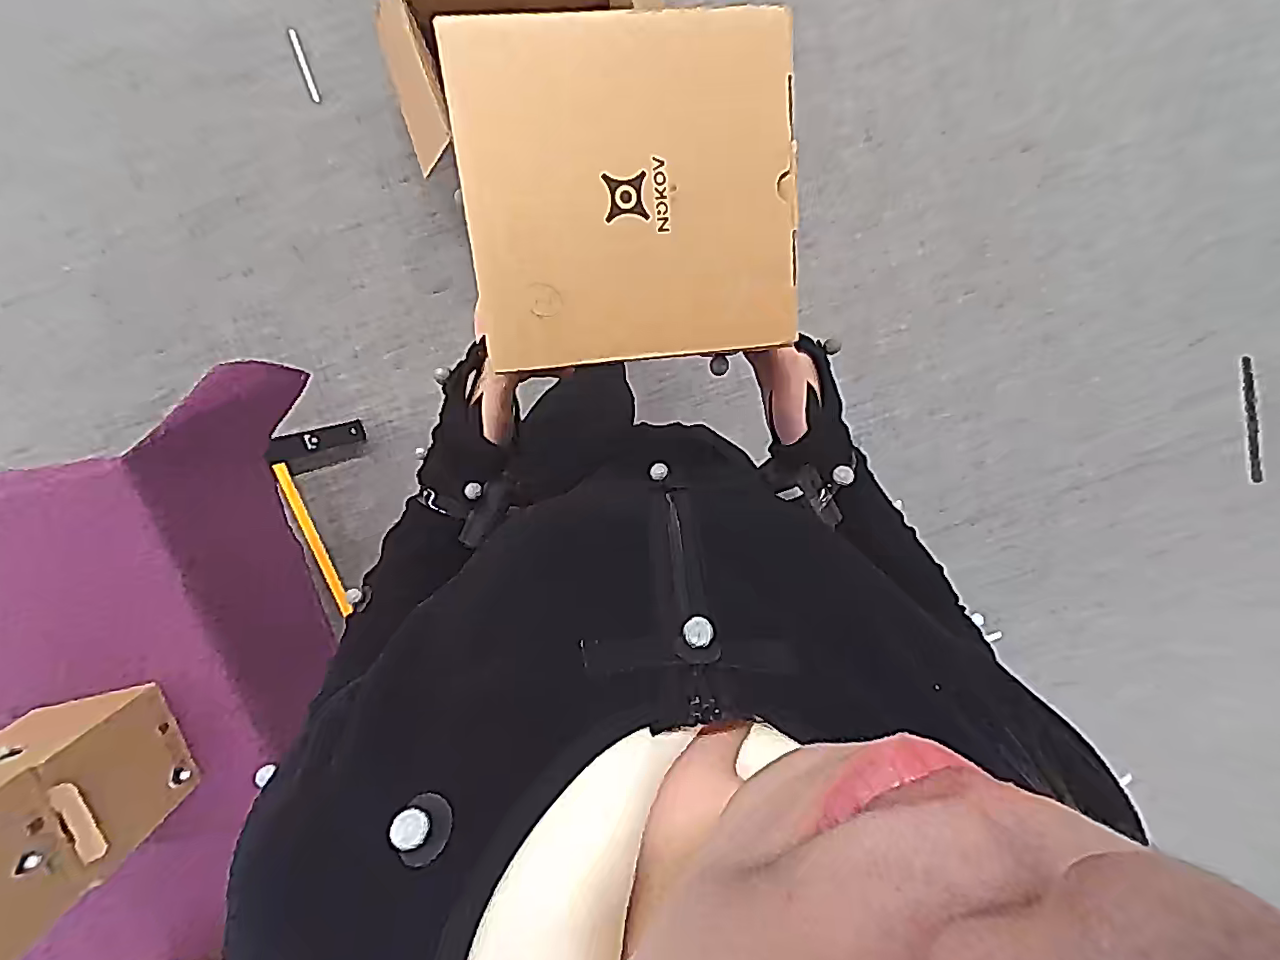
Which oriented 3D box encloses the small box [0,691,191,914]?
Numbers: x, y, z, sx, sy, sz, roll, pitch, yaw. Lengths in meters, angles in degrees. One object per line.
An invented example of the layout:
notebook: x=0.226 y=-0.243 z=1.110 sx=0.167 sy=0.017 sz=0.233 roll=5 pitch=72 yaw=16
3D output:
small box: x=-0.722 y=0.394 z=0.680 sx=0.179 sy=0.176 sz=0.168 roll=-13 pitch=102 yaw=0

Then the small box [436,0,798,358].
small box: x=-0.013 y=-0.171 z=0.357 sx=0.179 sy=0.176 sz=0.168 roll=-8 pitch=104 yaw=-6
